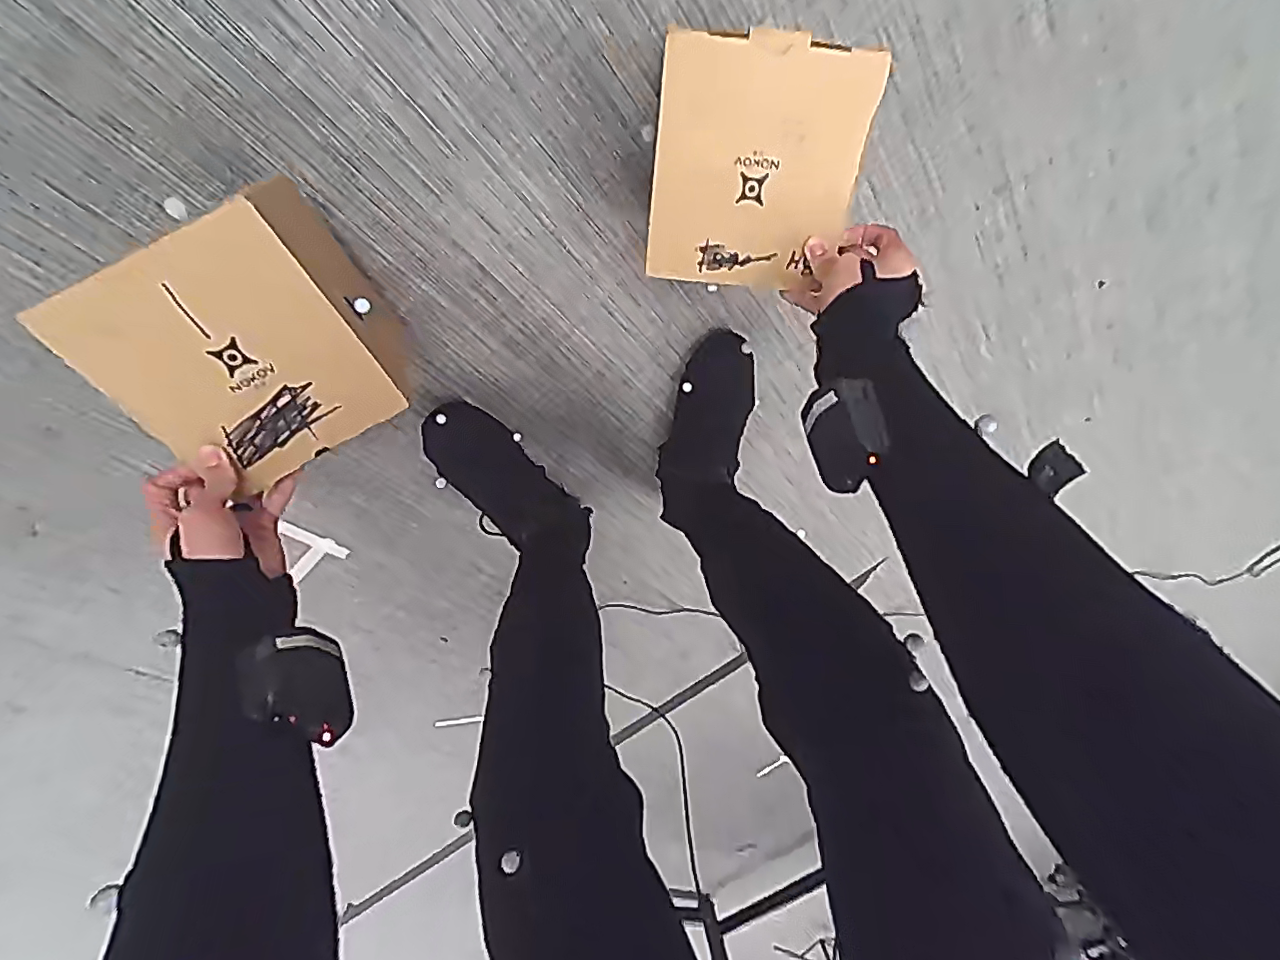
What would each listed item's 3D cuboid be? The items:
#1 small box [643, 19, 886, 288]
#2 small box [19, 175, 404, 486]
[{"bbox_3d":[0.093,-0.297,0.501,0.168,0.176,0.179,6,126,-1],"label":"small box"},{"bbox_3d":[-0.326,-0.134,0.465,0.168,0.176,0.179,-30,128,-3],"label":"small box"}]
